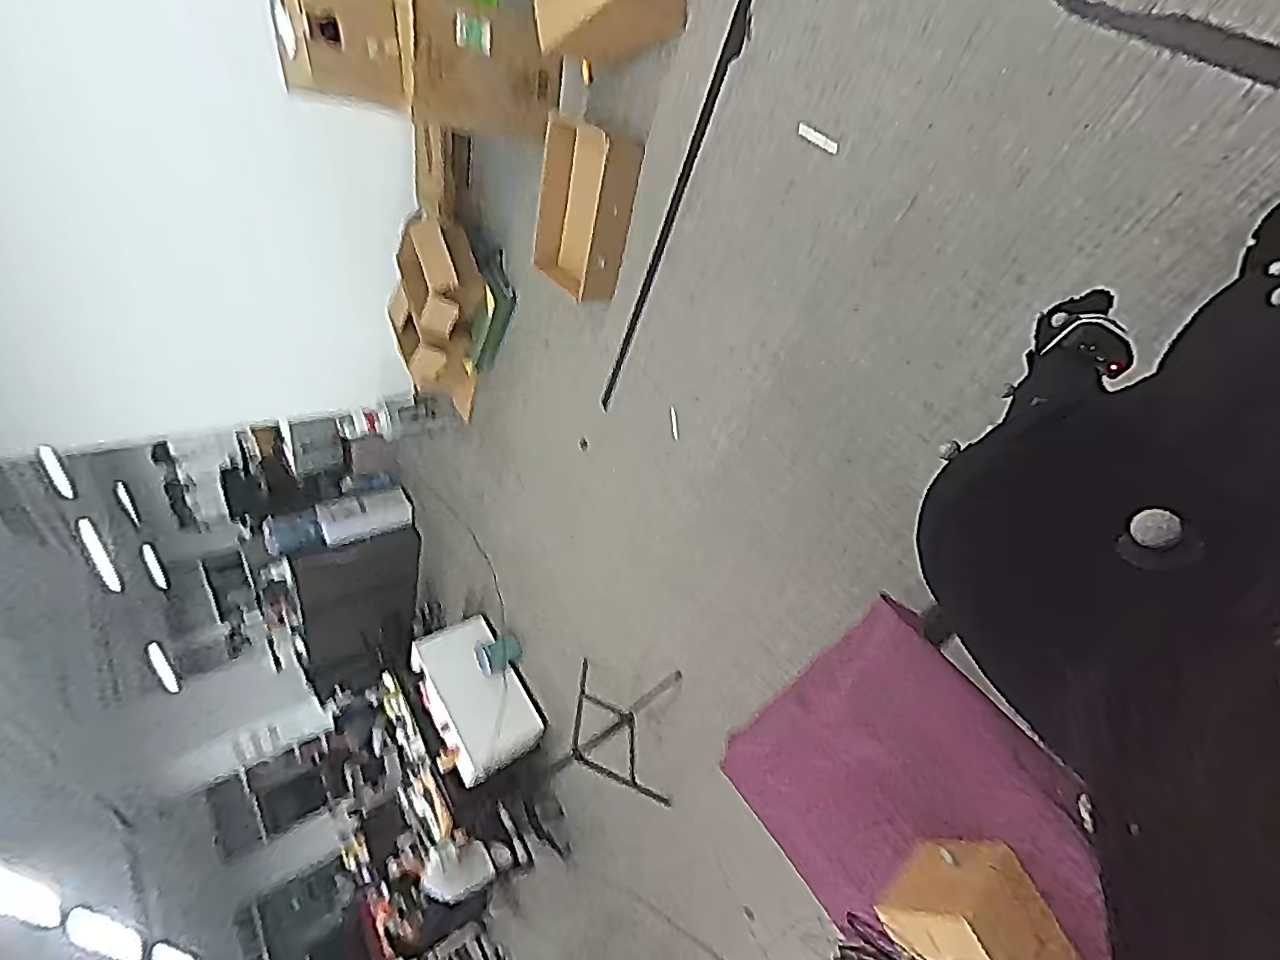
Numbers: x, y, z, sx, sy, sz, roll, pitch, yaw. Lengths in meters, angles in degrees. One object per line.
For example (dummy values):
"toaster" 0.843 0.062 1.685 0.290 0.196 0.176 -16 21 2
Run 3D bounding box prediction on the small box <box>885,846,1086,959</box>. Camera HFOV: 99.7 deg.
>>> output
"small box" 0.518 0.690 0.806 0.179 0.176 0.168 61 142 16
